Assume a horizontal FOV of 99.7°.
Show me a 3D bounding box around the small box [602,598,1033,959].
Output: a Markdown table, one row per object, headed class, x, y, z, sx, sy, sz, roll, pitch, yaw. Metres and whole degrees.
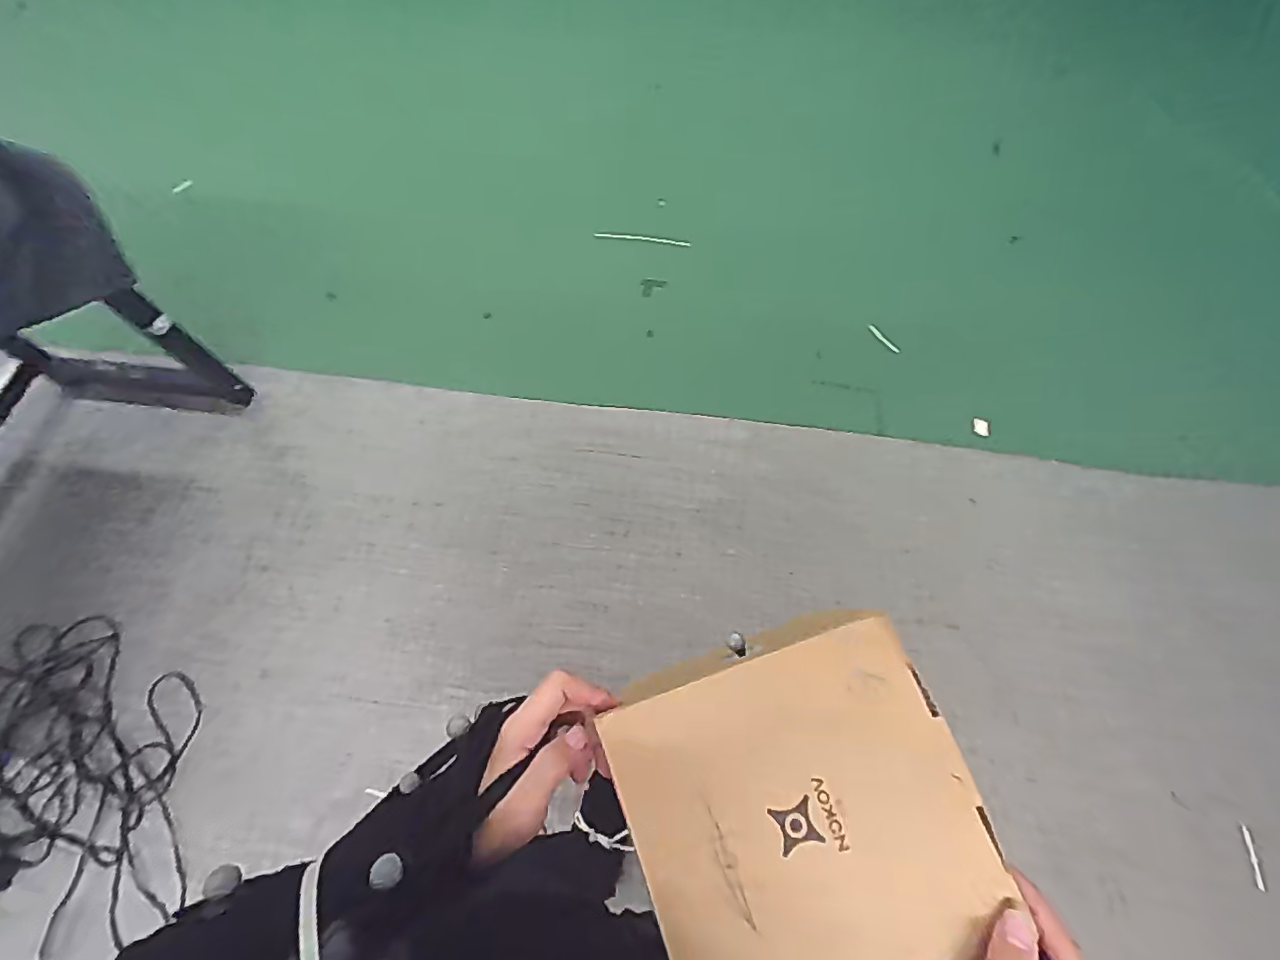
| class | x | y | z | sx | sy | sz | roll | pitch | yaw |
| --- | --- | --- | --- | --- | --- | --- | --- | --- | --- |
| small box | 0.092 | 0.188 | 0.360 | 0.179 | 0.176 | 0.168 | -23 | 74 | 0 |
